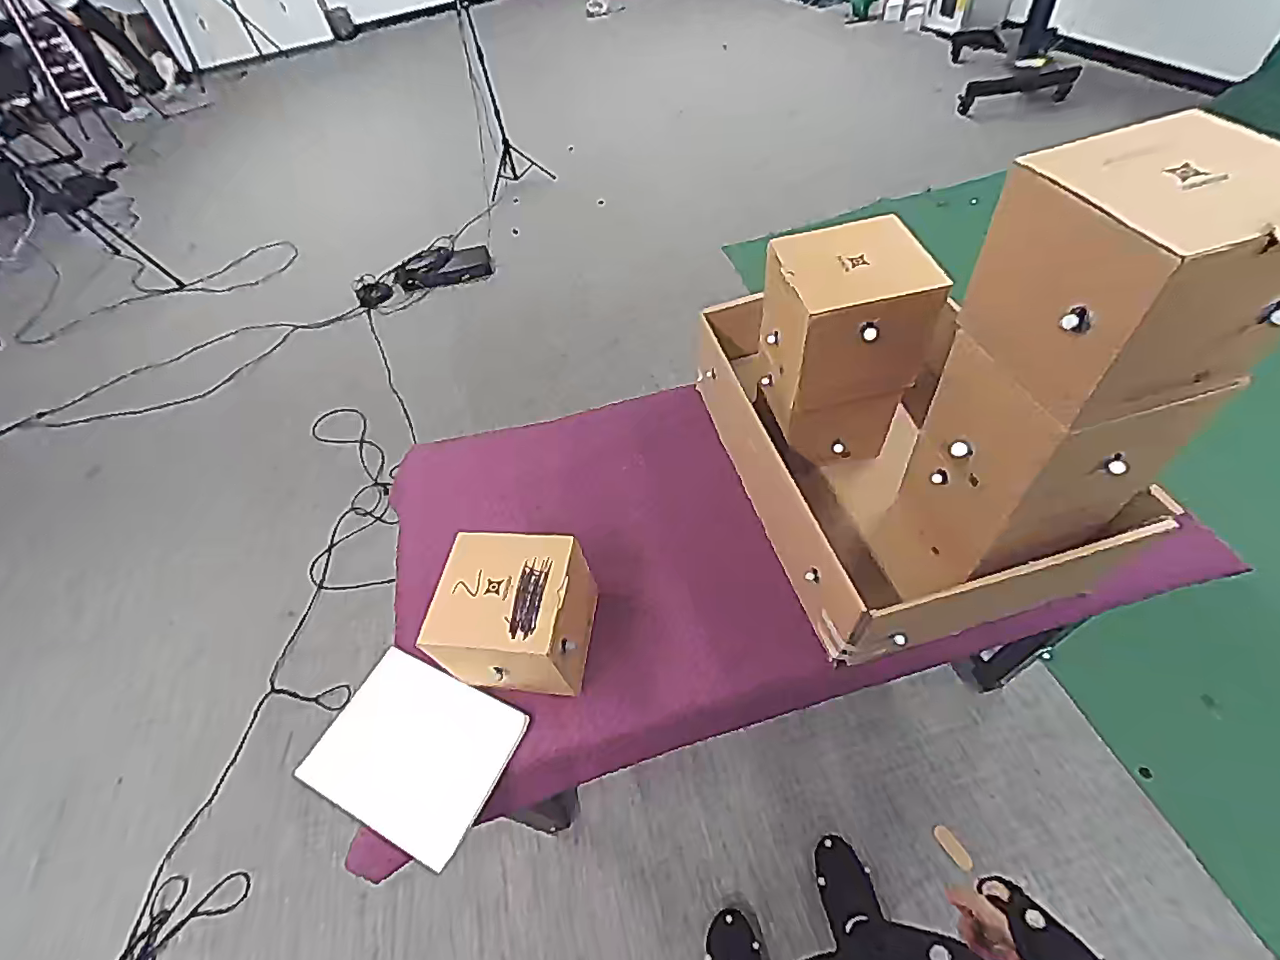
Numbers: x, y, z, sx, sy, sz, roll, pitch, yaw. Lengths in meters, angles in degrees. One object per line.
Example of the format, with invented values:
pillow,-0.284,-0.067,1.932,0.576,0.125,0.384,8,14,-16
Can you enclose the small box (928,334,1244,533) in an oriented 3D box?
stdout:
small box,0.454,-0.068,0.592,0.179,0.176,0.168,-16,50,0

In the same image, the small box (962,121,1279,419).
small box,0.425,-0.172,0.470,0.168,0.176,0.179,-15,50,-1

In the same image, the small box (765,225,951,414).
small box,0.281,-0.215,0.746,0.179,0.176,0.168,-12,53,2
